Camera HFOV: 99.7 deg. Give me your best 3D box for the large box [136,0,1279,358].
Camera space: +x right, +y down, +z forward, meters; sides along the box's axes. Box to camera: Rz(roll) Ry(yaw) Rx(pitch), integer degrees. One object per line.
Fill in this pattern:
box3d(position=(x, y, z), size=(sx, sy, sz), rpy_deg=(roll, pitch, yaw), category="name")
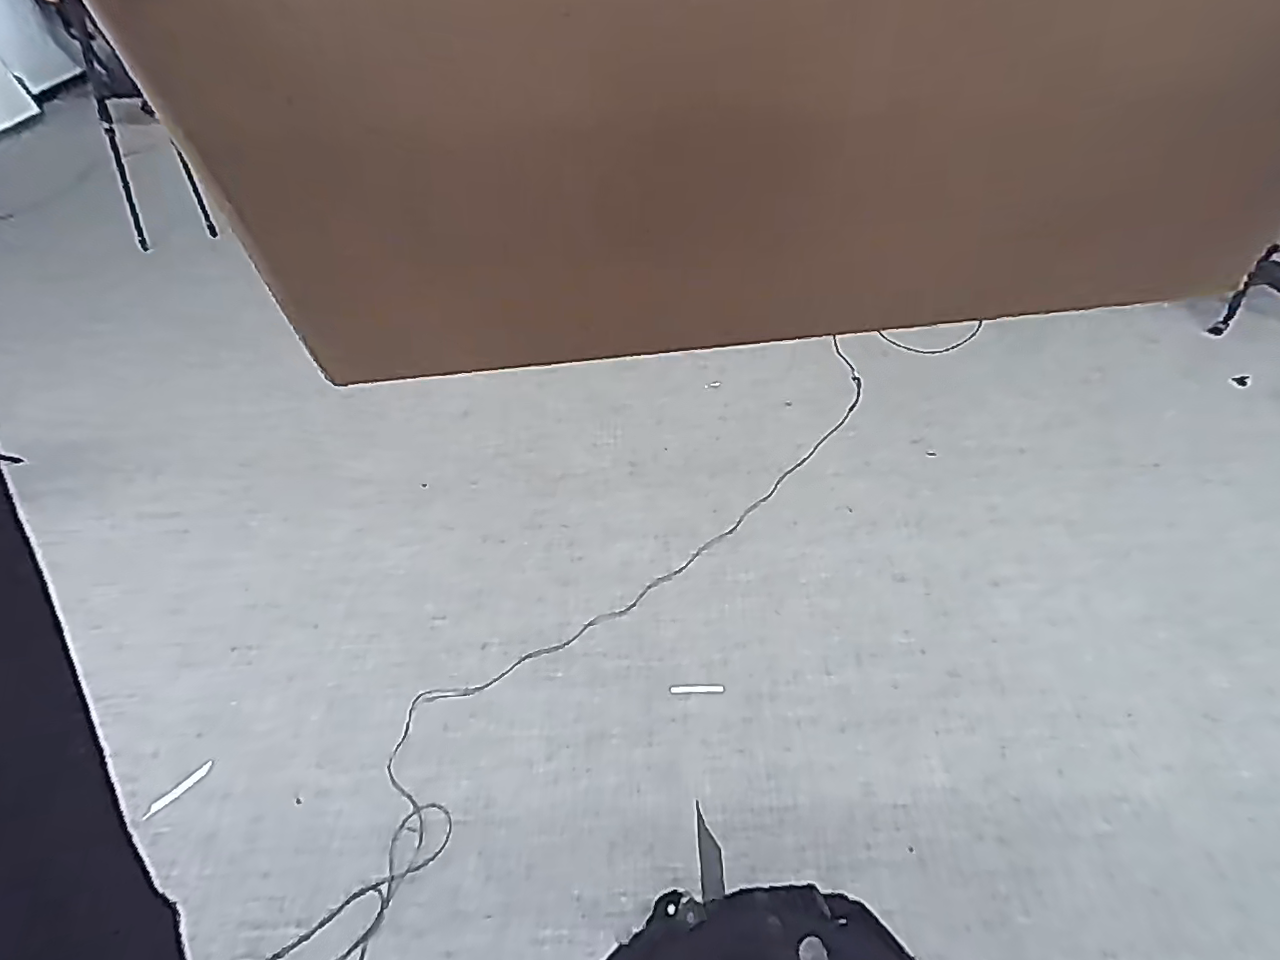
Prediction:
box3d(position=(0.038, -0.281, 0.233), size=(0.408, 0.320, 0.320), rpy_deg=(-6, 49, -1), category="large box")
